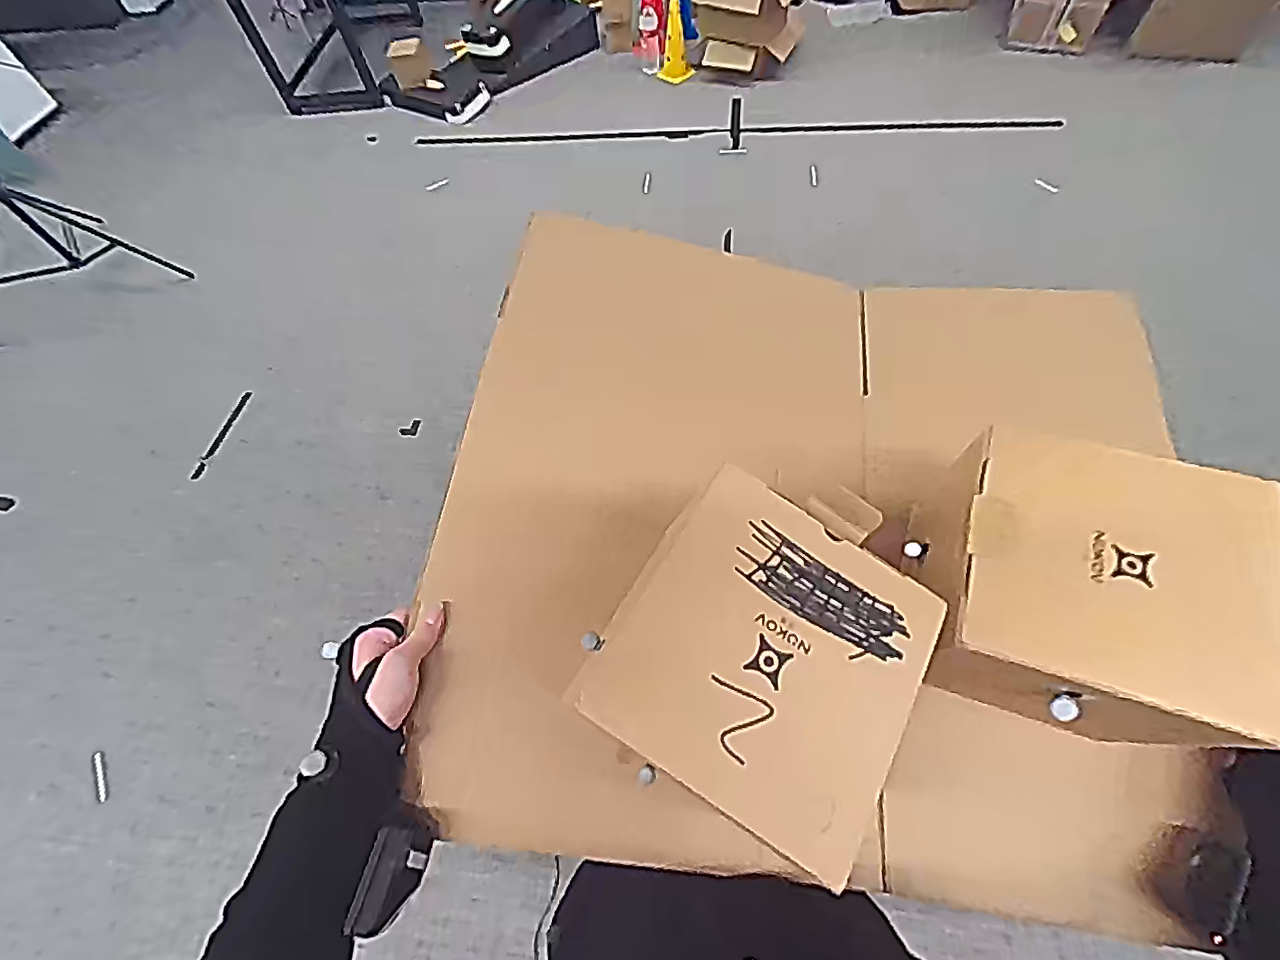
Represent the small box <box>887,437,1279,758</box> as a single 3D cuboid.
[{"bbox_3d":[0.319,0.093,0.422,0.179,0.176,0.168,16,69,15],"label":"small box"}]
